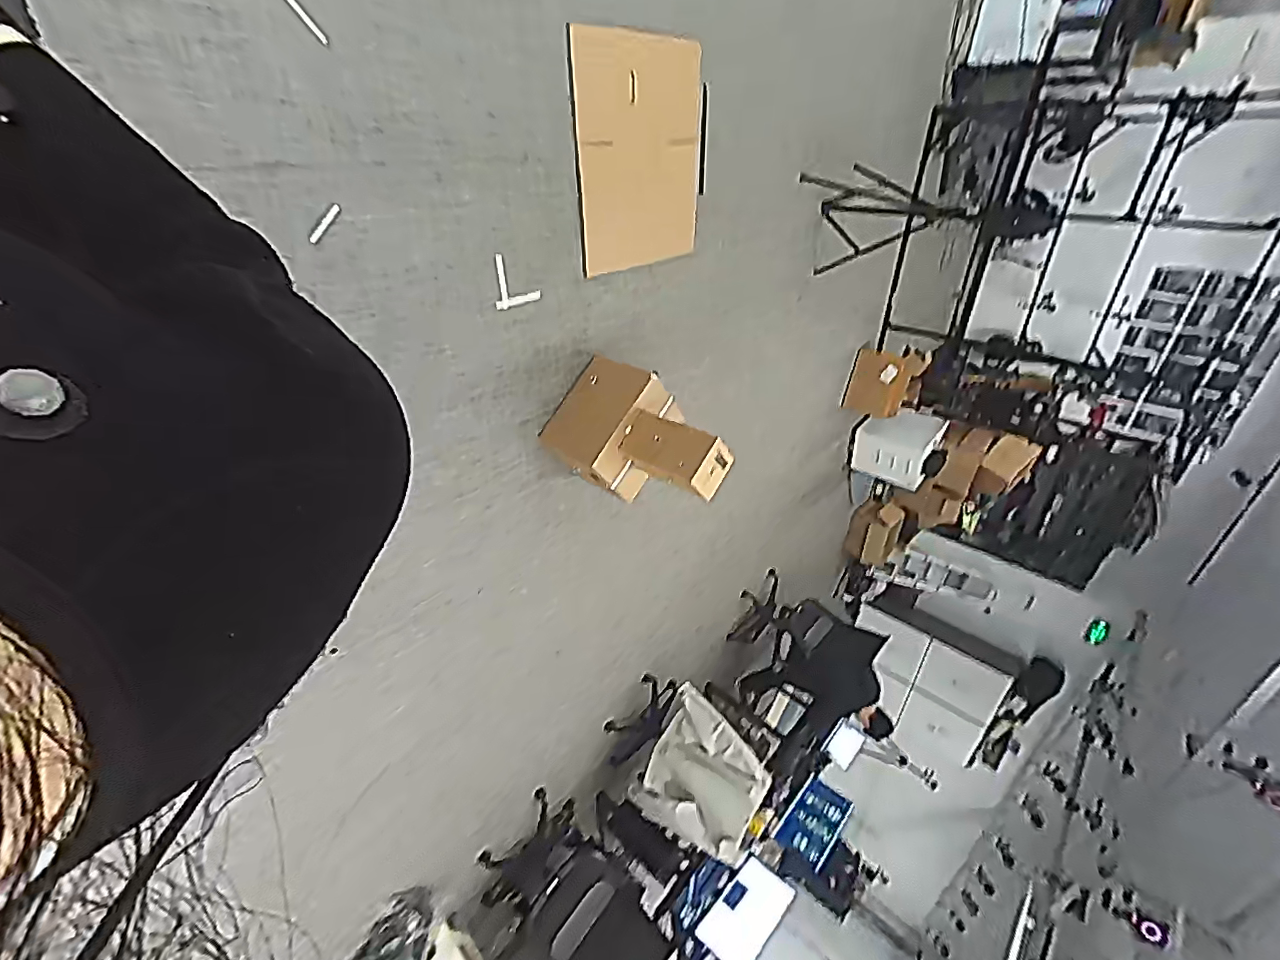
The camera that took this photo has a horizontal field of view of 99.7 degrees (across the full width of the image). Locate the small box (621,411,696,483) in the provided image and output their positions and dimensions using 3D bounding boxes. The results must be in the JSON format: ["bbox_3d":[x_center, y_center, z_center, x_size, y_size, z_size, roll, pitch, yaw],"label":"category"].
[{"bbox_3d":[0.064,-0.121,1.912,0.179,0.176,0.168,-58,143,-7],"label":"small box"}]
